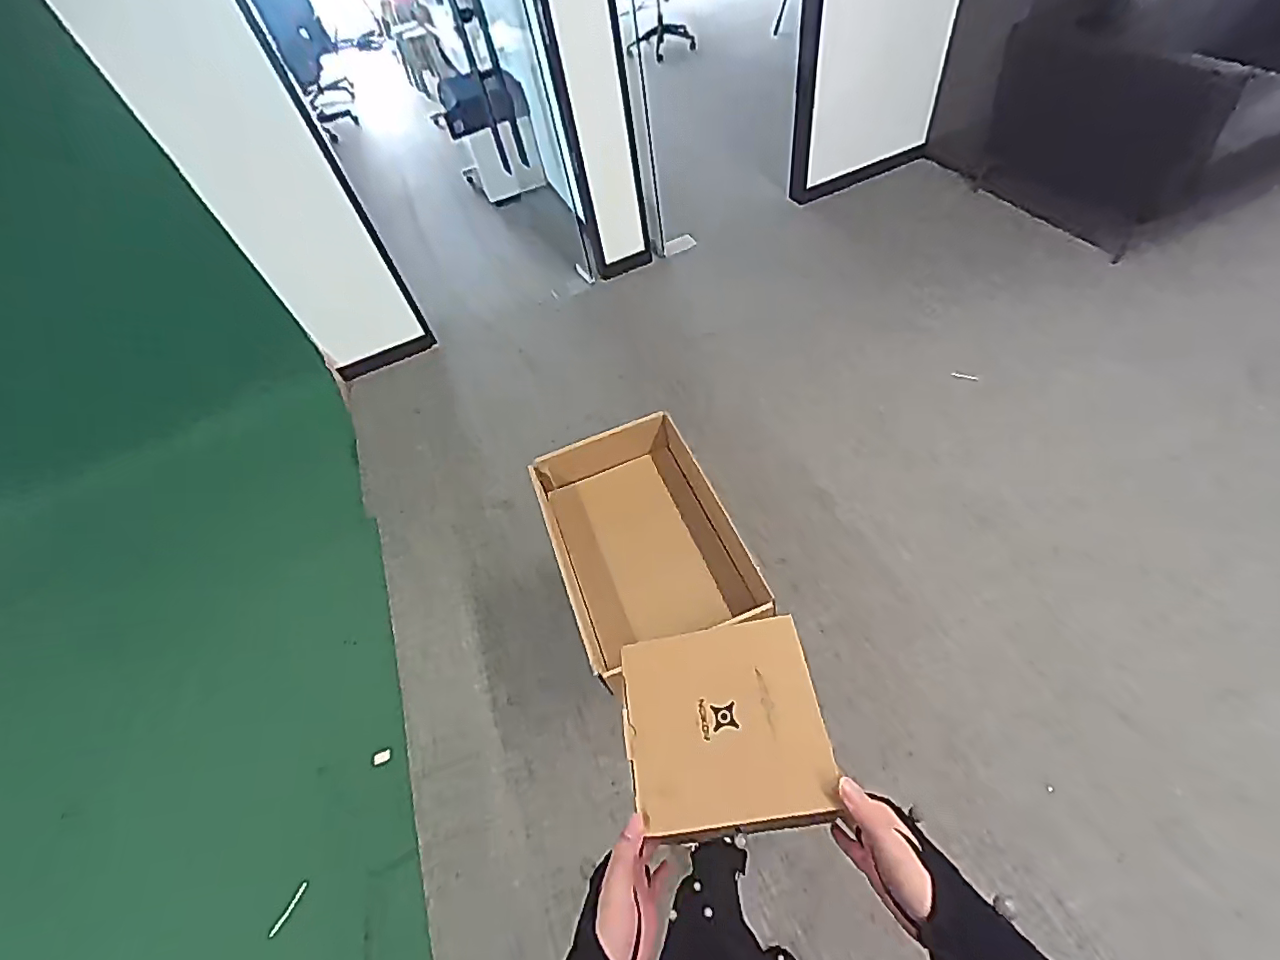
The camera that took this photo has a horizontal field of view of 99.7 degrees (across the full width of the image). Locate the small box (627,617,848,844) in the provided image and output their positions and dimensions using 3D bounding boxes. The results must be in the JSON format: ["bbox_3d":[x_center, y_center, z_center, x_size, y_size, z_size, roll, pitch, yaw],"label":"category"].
[{"bbox_3d":[0.094,0.260,0.549,0.179,0.176,0.168,-11,52,6],"label":"small box"}]
